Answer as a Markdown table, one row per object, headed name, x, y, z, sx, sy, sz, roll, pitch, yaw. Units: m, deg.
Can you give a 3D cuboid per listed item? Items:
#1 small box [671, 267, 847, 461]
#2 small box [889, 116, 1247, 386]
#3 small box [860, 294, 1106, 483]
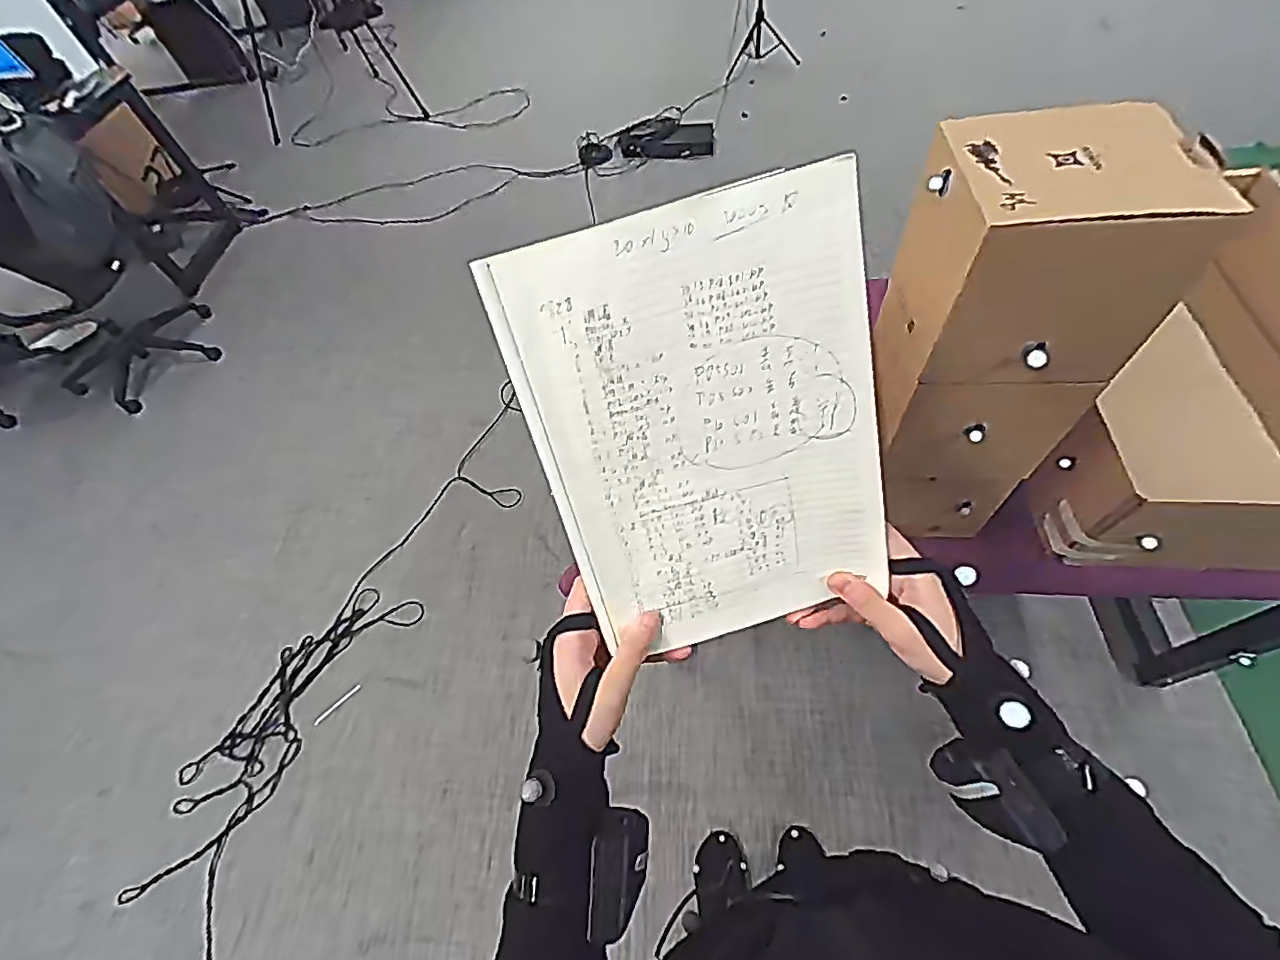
| name | x | y | z | sx | sy | sz | roll | pitch | yaw |
| --- | --- | --- | --- | --- | --- | --- | --- | --- | --- |
| small box | 0.150 | -0.143 | 0.690 | 0.179 | 0.176 | 0.168 | 11 | 59 | 16 |
| small box | 0.354 | -0.200 | 0.496 | 0.179 | 0.176 | 0.168 | 1 | 55 | 8 |
| small box | 0.373 | -0.108 | 0.631 | 0.179 | 0.176 | 0.168 | 1 | 55 | 9 |
